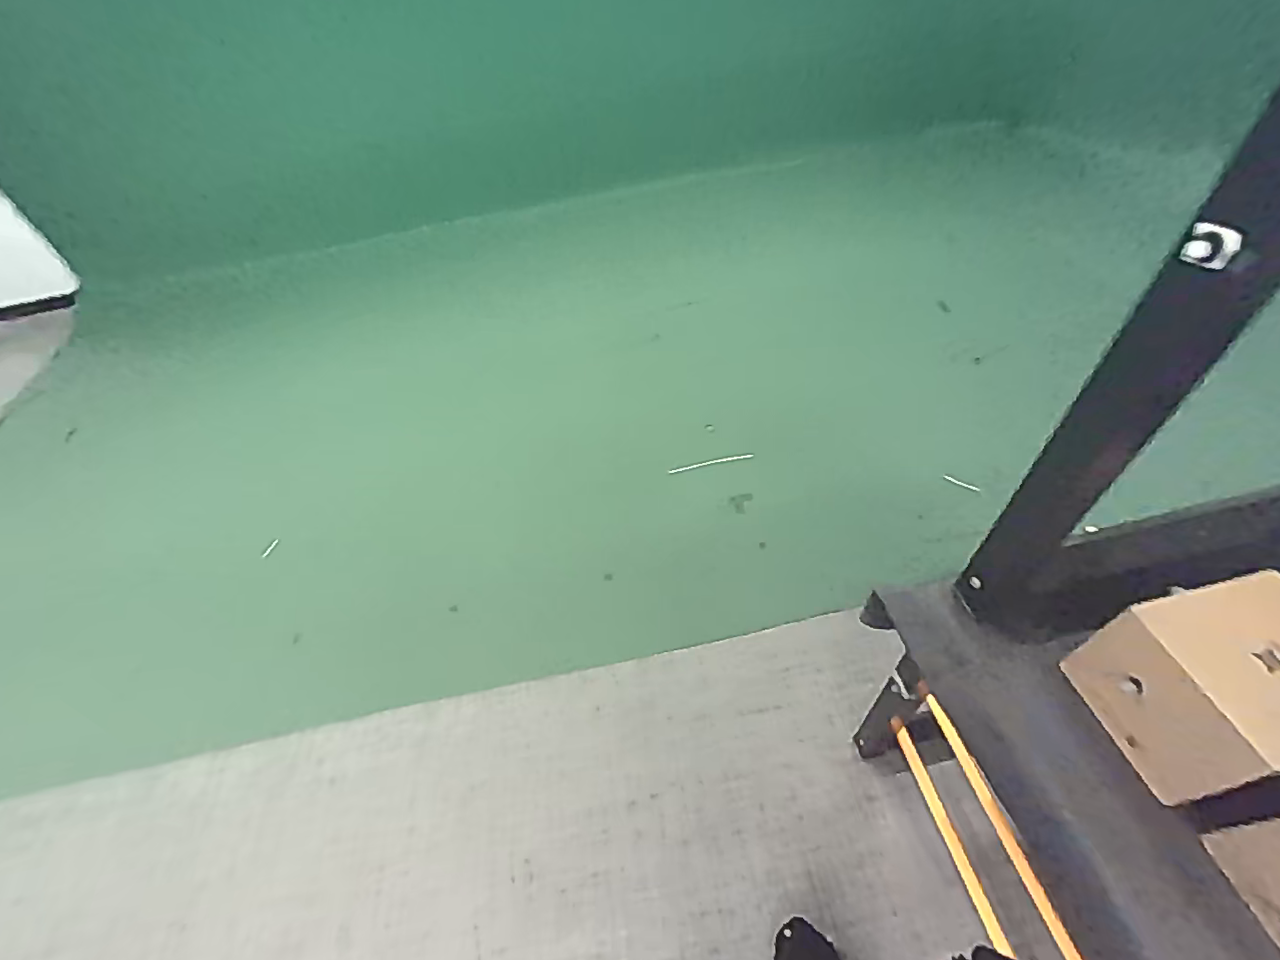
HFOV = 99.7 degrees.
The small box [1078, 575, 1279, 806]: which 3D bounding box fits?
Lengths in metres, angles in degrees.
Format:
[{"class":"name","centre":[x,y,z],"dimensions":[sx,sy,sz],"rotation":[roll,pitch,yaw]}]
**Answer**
[{"class":"small box","centre":[0.628,0.232,0.584],"dimensions":[0.179,0.176,0.168],"rotation":[-13,50,-3]}]
